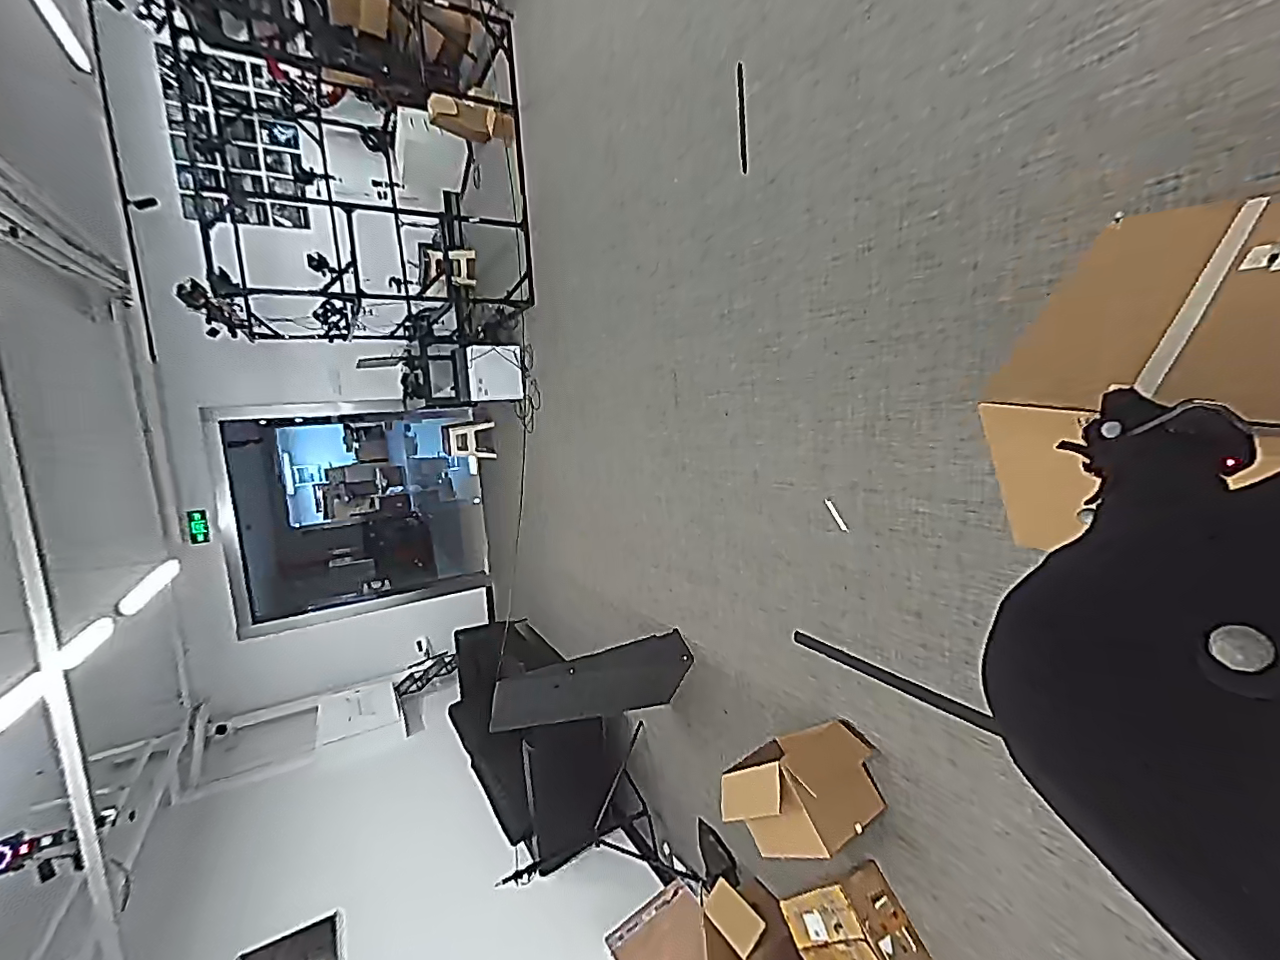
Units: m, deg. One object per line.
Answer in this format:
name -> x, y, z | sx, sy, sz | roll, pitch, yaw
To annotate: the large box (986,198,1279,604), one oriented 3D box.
large box -> 0.745, -0.112, 0.721 | 0.320, 0.408, 0.320 | 22, 154, 55
